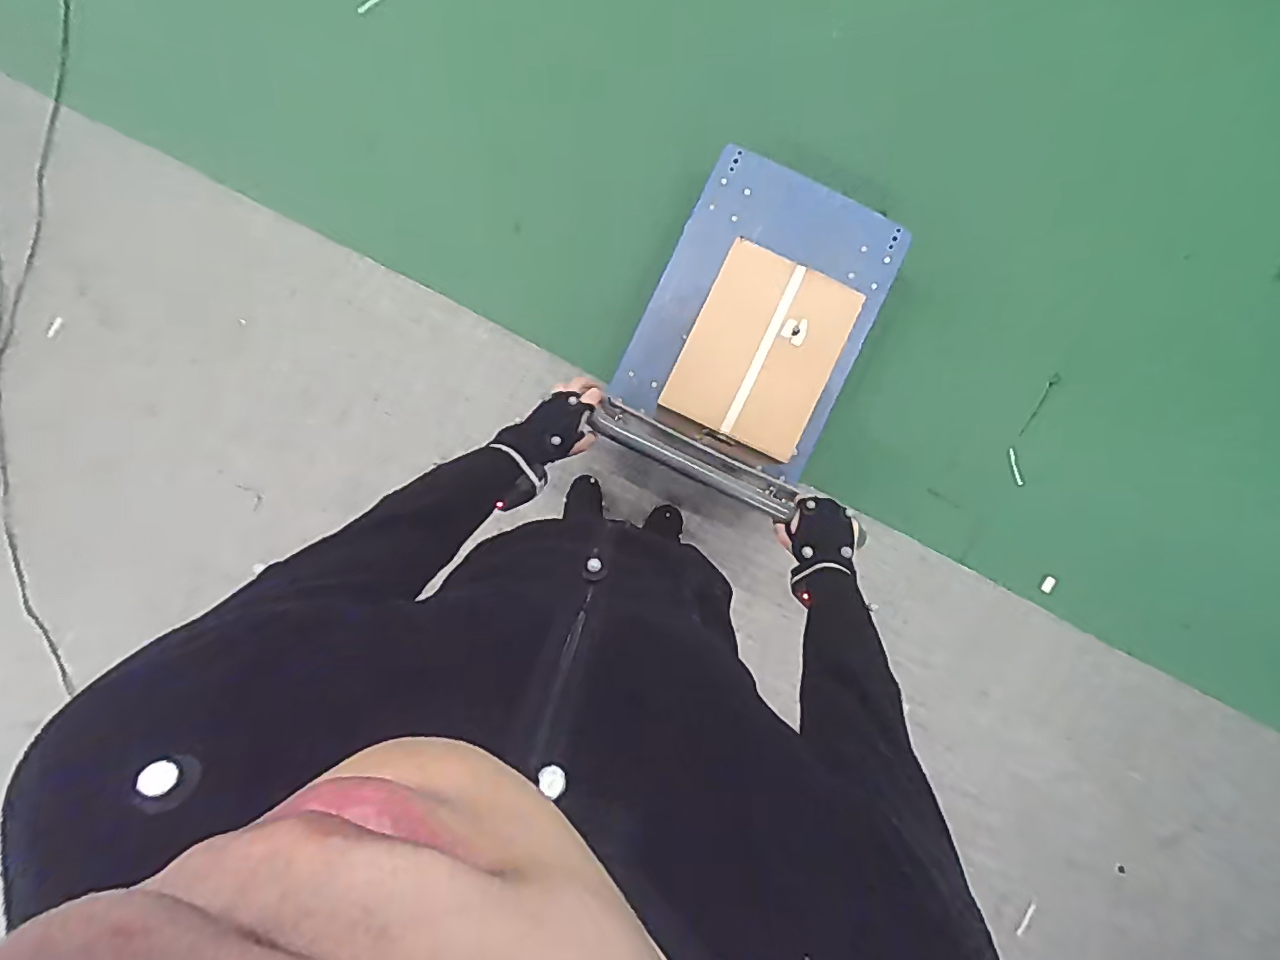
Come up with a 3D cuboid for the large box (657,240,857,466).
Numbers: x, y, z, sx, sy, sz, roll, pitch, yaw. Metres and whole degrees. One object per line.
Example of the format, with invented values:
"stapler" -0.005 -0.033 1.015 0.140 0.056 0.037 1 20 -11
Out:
"large box" 0.257 -0.281 1.324 0.320 0.320 0.408 26 89 0
